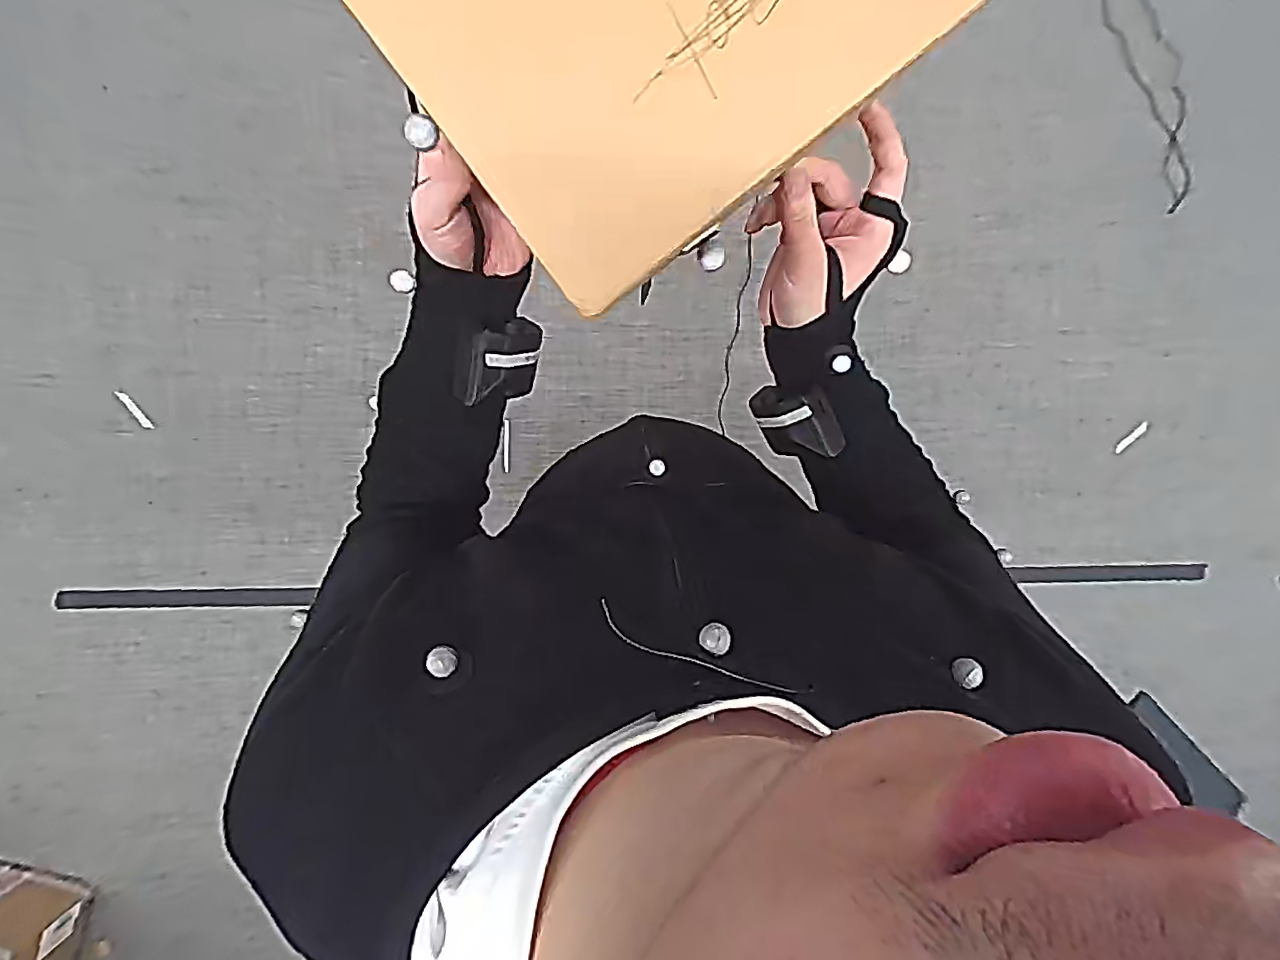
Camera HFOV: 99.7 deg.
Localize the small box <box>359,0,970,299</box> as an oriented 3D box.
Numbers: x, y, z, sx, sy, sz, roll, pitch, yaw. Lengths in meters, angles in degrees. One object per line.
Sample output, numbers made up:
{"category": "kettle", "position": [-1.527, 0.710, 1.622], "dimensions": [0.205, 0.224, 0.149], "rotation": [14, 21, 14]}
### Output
{"category": "small box", "position": [-0.008, -0.199, 0.240], "dimensions": [0.168, 0.176, 0.179], "rotation": [-37, 105, 11]}
